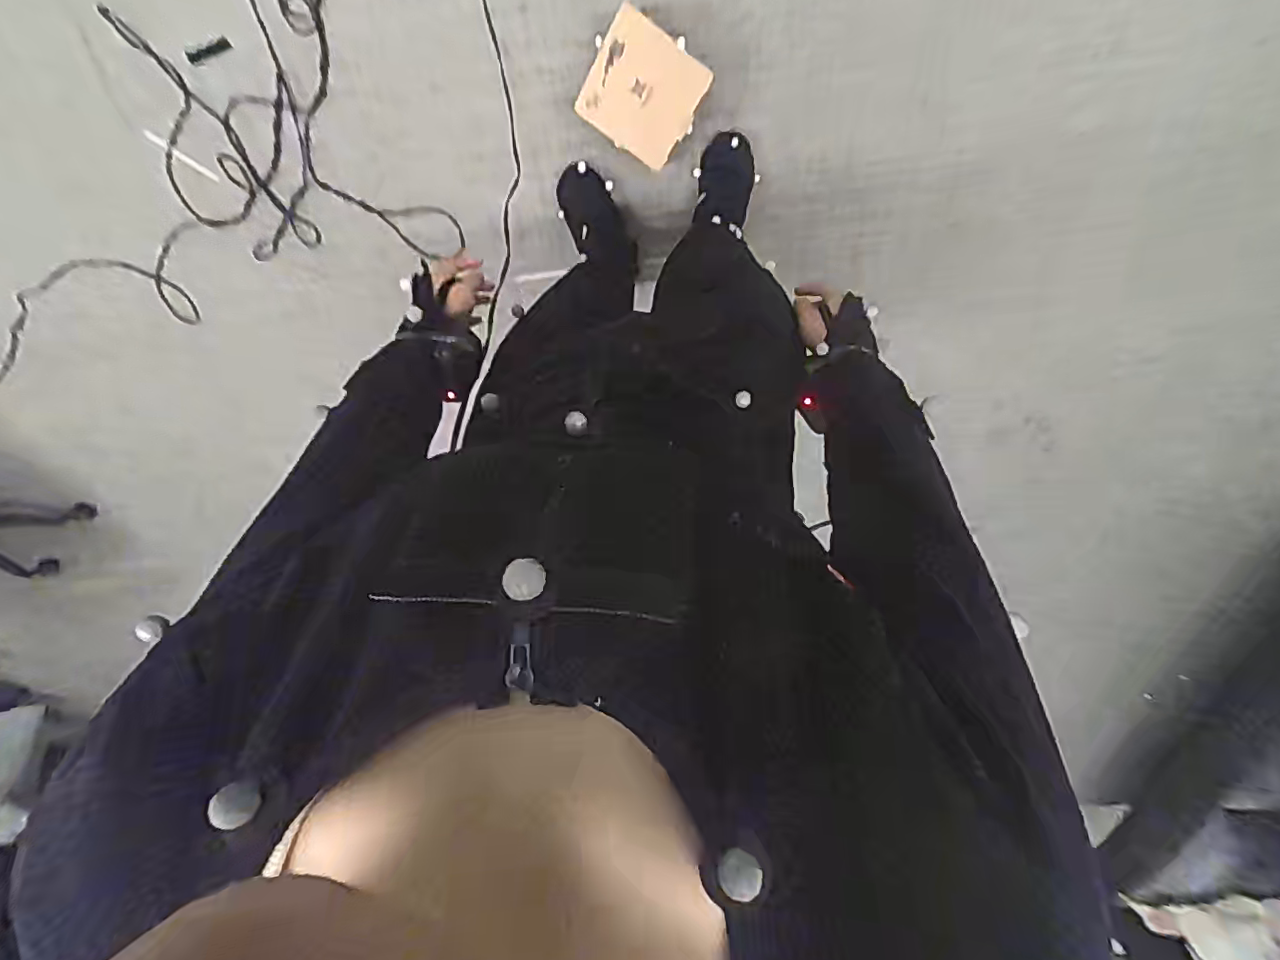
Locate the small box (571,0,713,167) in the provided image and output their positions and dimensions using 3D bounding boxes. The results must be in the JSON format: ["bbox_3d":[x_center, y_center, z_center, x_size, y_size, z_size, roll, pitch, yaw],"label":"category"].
[{"bbox_3d":[0.003,-0.683,0.934,0.179,0.176,0.168,28,122,-19],"label":"small box"}]
